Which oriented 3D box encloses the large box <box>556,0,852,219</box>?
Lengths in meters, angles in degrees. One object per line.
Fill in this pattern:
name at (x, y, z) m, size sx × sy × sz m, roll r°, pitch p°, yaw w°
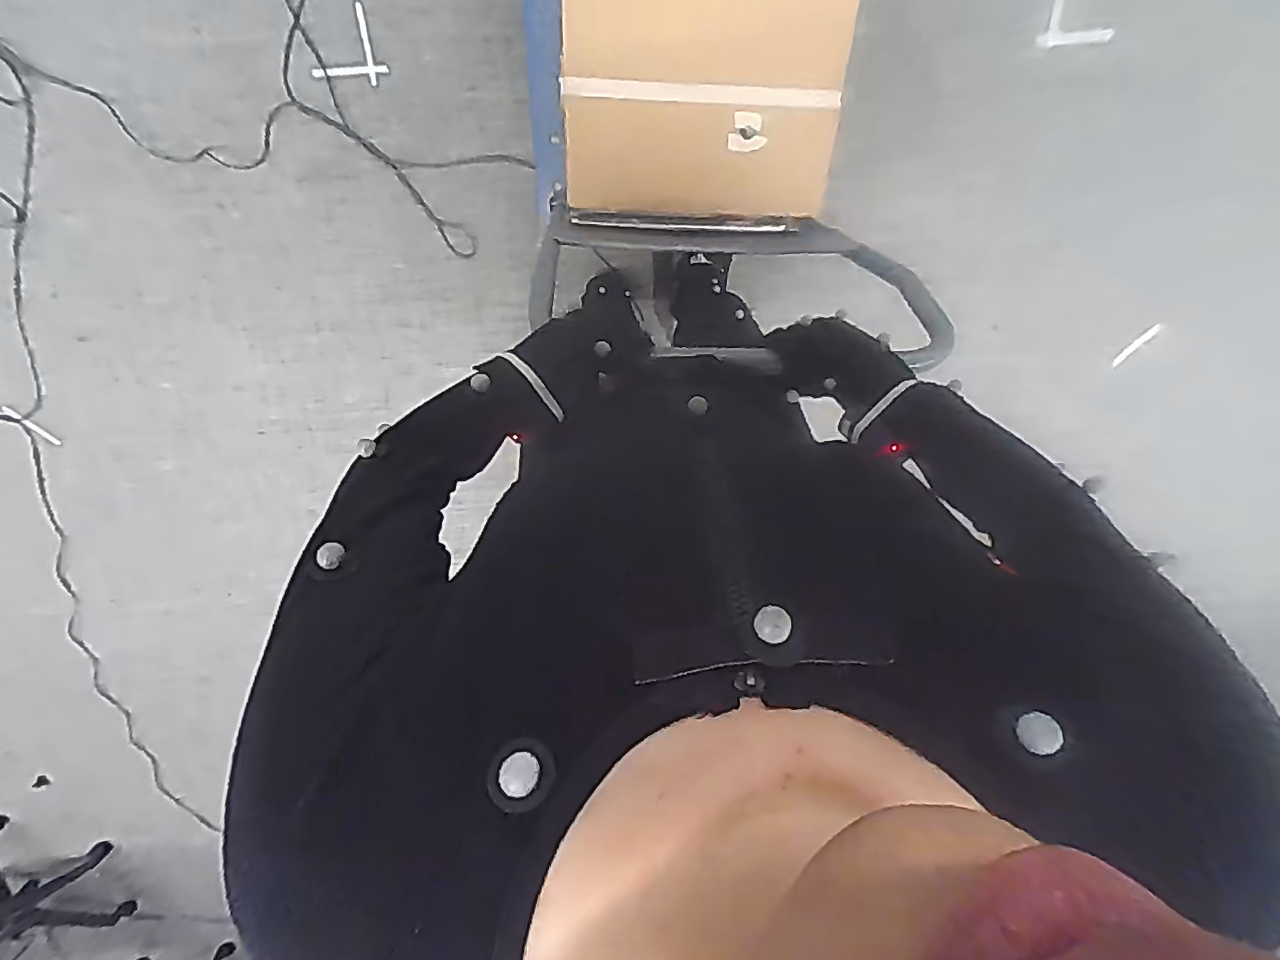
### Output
large box at (0.072, -0.624, 0.902) m, size 0.408 × 0.320 × 0.320 m, roll -1°, pitch 122°, yaw -6°
